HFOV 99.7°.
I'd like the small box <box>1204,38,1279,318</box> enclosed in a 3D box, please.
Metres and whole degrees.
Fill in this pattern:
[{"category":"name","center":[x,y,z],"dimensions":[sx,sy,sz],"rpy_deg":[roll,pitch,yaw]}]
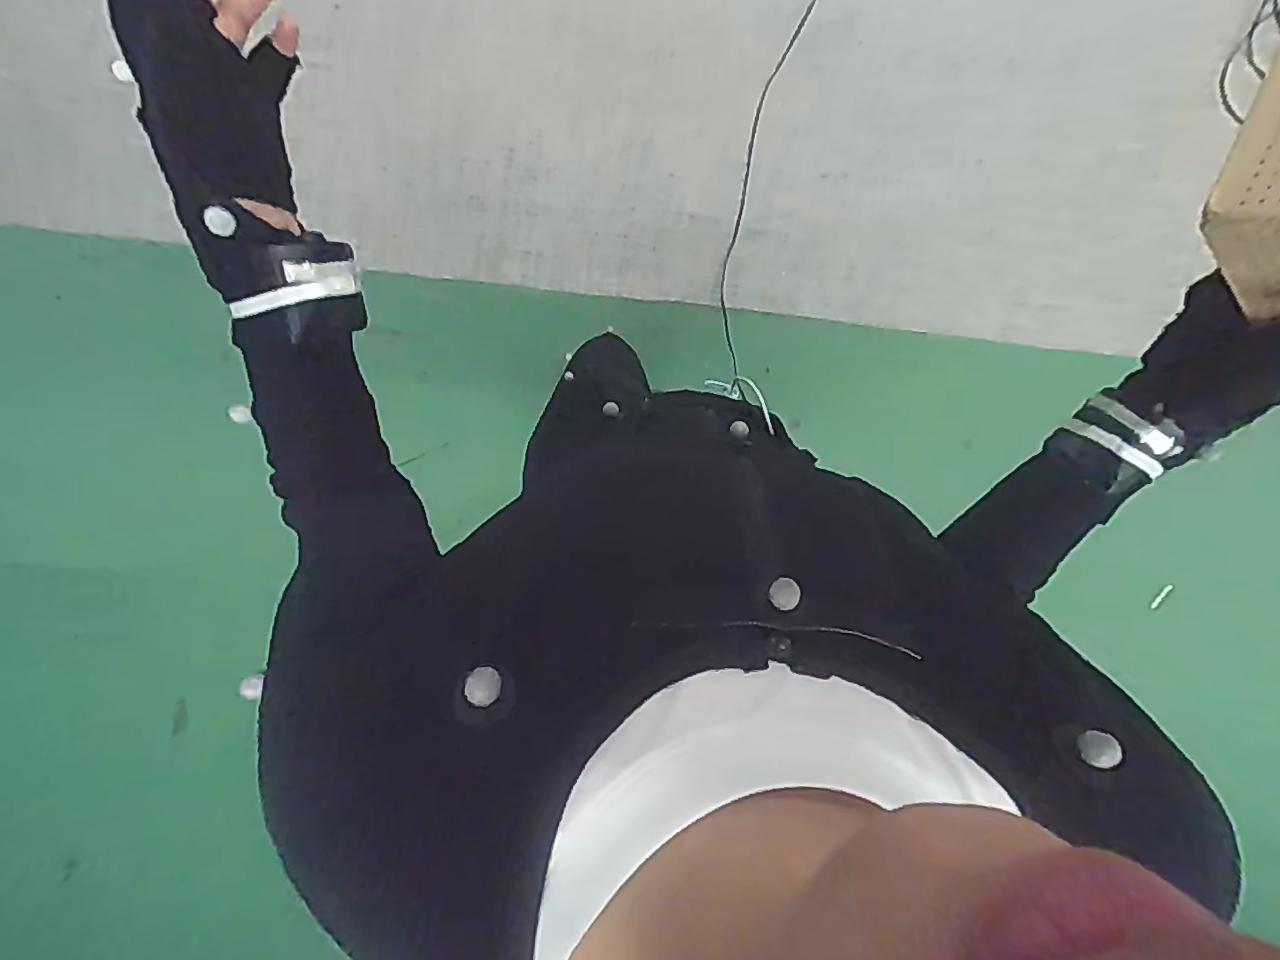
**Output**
[{"category":"small box","center":[0.405,-0.168,0.234],"dimensions":[0.179,0.176,0.168],"rpy_deg":[12,100,-34]}]
